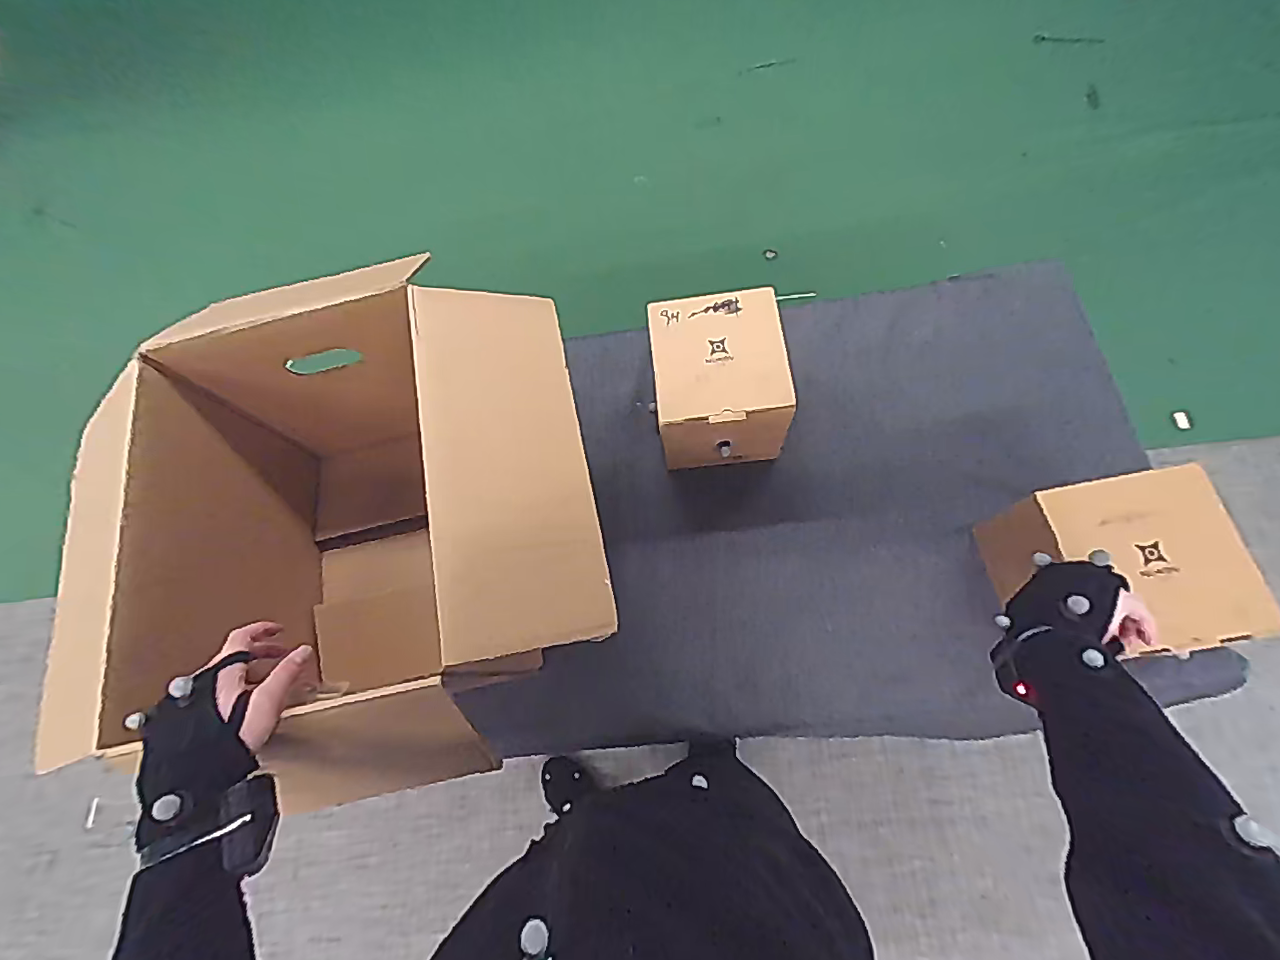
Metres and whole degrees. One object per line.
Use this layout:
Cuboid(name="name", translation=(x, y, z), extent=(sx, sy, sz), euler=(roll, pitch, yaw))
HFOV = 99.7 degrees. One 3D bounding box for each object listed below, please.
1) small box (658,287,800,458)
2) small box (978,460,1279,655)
Cuboid(name="small box", translation=(0.117, -0.137, 0.756), extent=(0.168, 0.176, 0.179), euler=(-5, 72, 4))
Cuboid(name="small box", translation=(0.532, 0.099, 0.621), extent=(0.168, 0.176, 0.179), euler=(-12, 70, 5))
